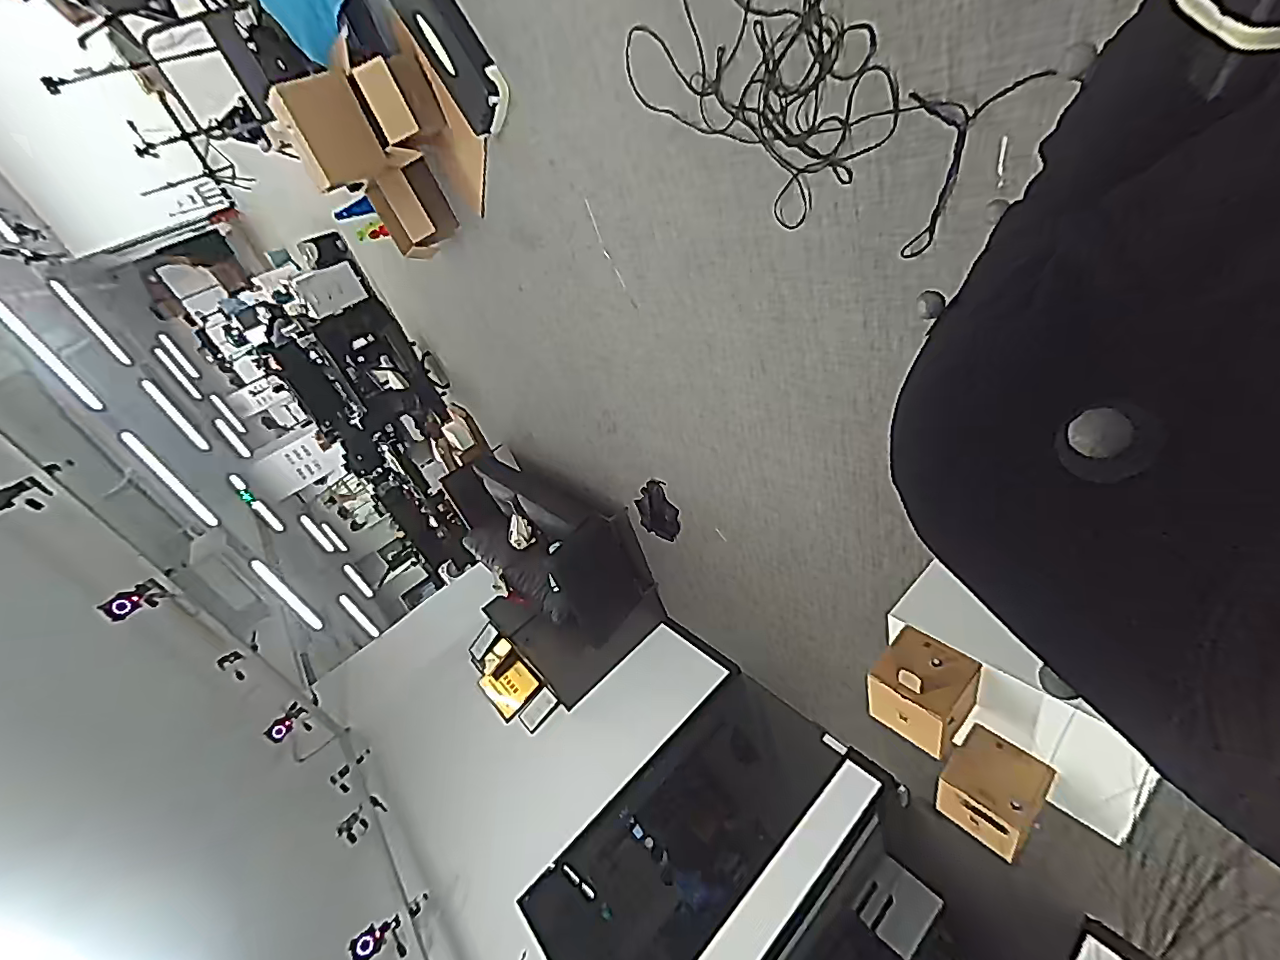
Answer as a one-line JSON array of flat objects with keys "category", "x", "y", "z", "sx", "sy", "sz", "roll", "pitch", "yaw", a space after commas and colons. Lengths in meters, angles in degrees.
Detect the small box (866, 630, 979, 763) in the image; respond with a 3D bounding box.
[{"category": "small box", "x": 0.628, "y": 0.476, "z": 1.204, "sx": 0.168, "sy": 0.176, "sz": 0.179, "roll": 27, "pitch": 146, "yaw": 46}]
